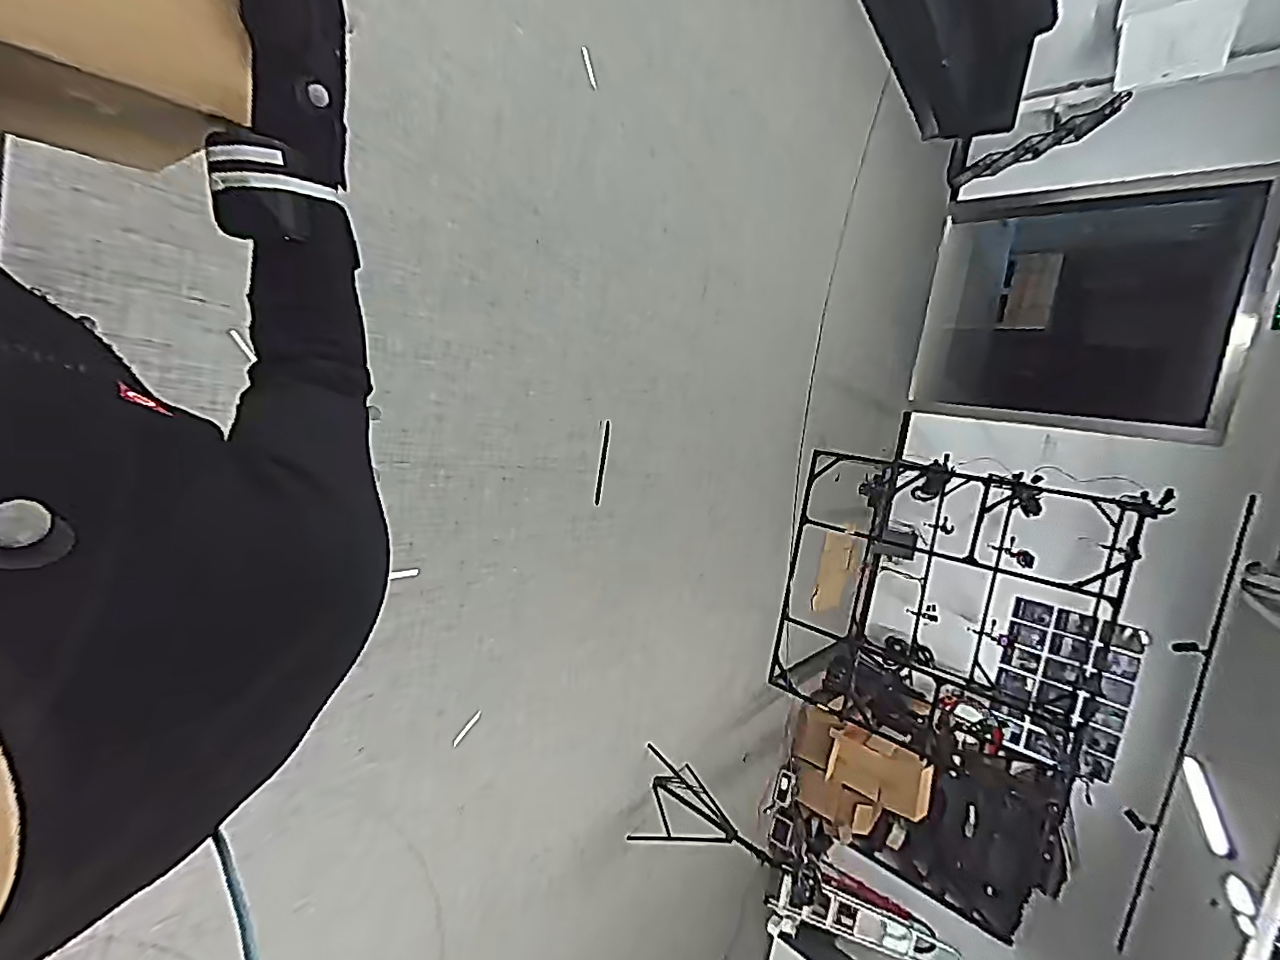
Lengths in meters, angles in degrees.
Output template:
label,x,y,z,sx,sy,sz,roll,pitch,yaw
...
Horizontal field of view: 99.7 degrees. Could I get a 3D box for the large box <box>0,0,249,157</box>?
label,x,y,z,sx,sy,sz,roll,pitch,yaw
large box,-0.493,-0.420,0.280,0.408,0.320,0.320,-7,111,-51
